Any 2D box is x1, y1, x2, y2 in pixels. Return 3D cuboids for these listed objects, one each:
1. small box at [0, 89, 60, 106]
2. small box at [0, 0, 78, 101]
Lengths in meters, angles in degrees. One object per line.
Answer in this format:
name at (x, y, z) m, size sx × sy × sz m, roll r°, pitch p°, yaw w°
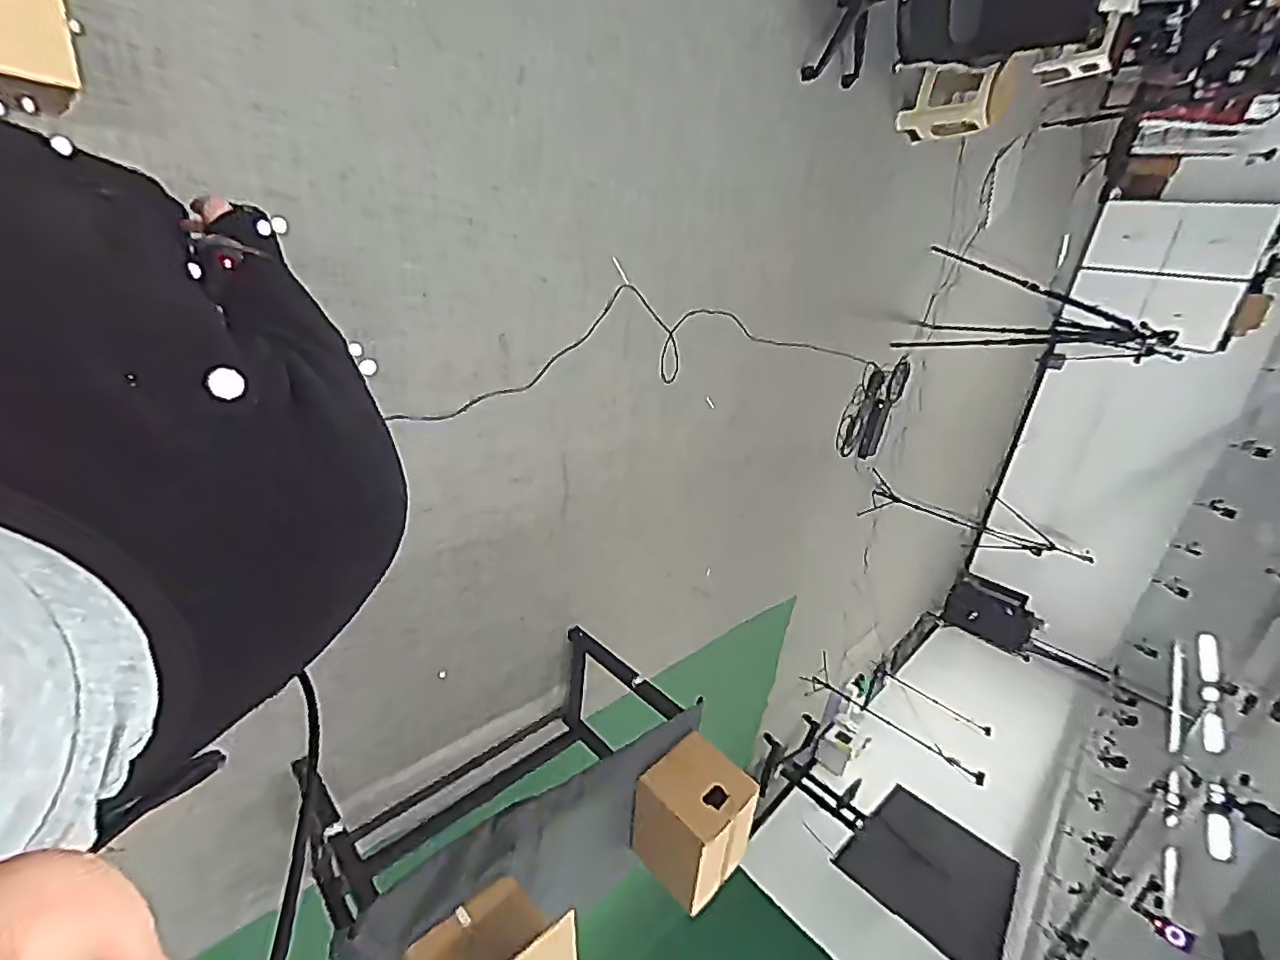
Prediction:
small box at (-0.924, -0.632, 0.734) m, size 0.168 × 0.176 × 0.179 m, roll -17°, pitch 122°, yaw -43°
small box at (-0.805, -0.574, 0.637) m, size 0.168 × 0.176 × 0.179 m, roll -15°, pitch 124°, yaw -44°
